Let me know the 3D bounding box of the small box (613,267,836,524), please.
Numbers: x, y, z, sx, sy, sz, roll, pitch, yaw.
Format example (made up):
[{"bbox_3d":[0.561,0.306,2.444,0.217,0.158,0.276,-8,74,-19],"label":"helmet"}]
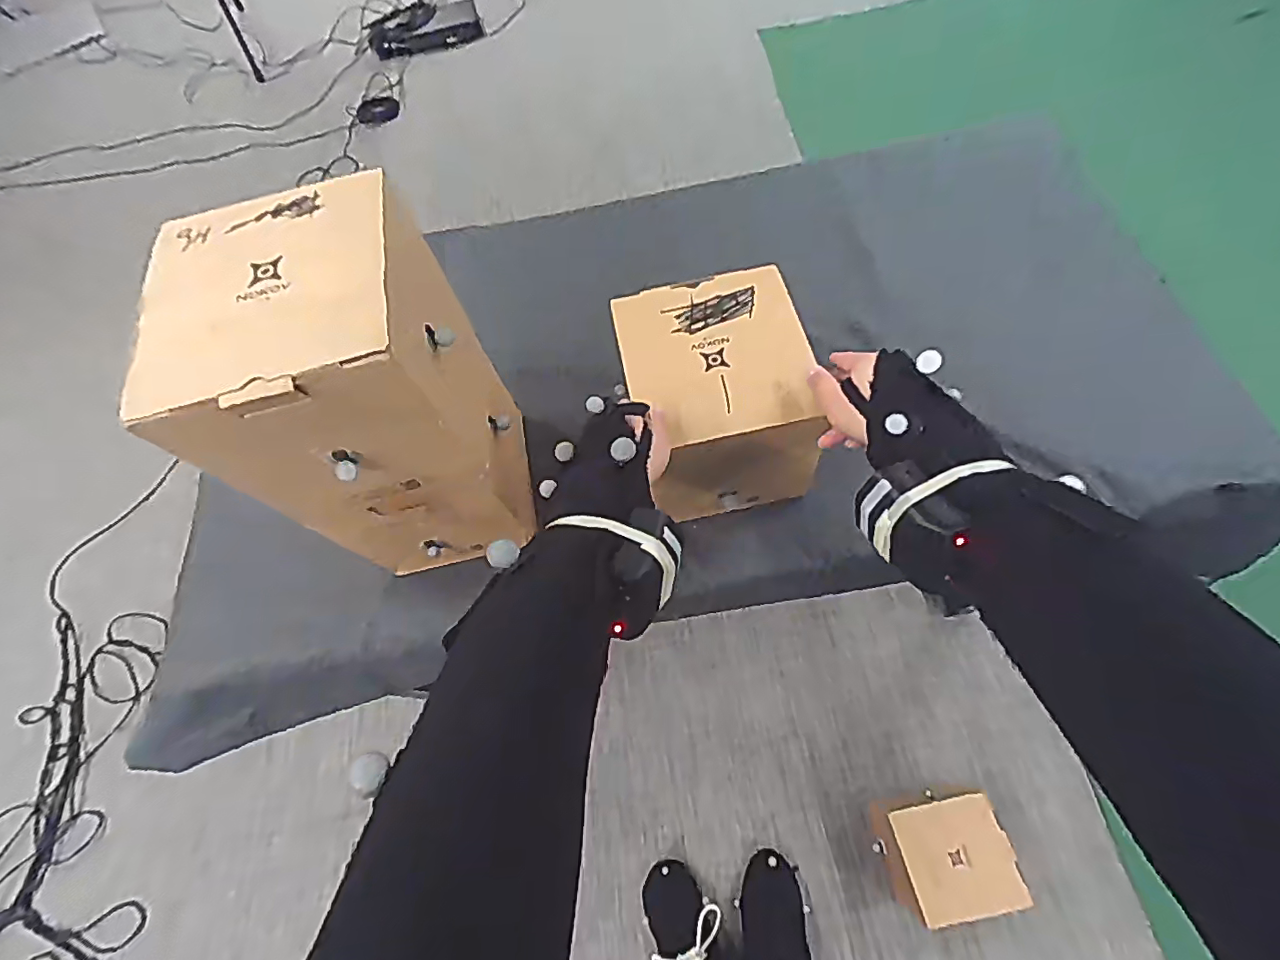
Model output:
[{"bbox_3d":[0.075,-0.077,0.549,0.168,0.176,0.179,-12,64,2],"label":"small box"}]

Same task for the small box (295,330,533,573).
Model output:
[{"bbox_3d":[-0.220,-0.022,0.564,0.168,0.176,0.179,-13,64,0],"label":"small box"}]

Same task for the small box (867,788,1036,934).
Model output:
[{"bbox_3d":[0.533,0.658,0.956,0.179,0.176,0.168,-14,63,1],"label":"small box"}]

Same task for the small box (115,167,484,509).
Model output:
[{"bbox_3d":[-0.232,-0.091,0.416,0.168,0.176,0.179,-15,65,0],"label":"small box"}]
